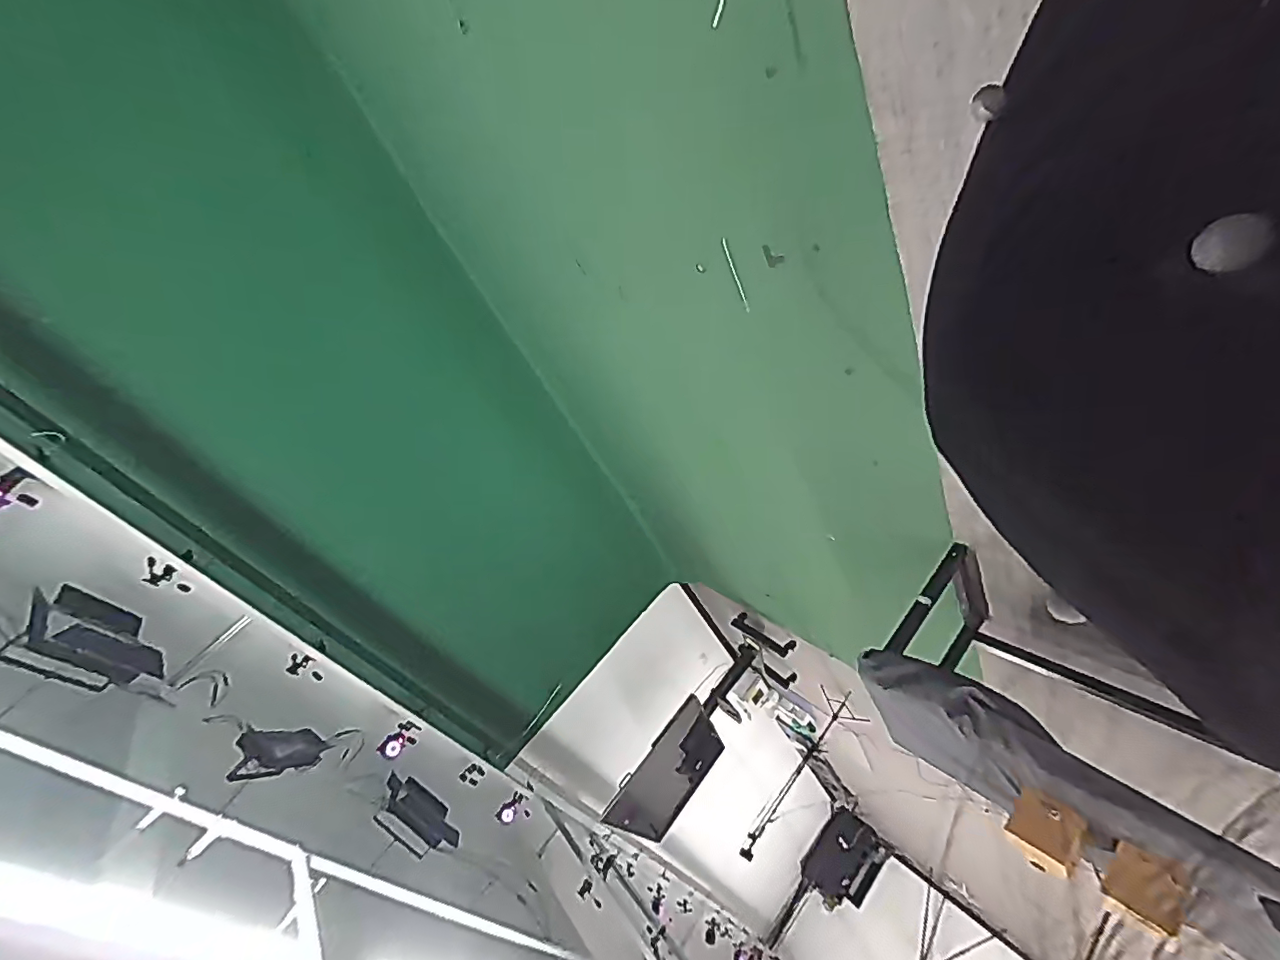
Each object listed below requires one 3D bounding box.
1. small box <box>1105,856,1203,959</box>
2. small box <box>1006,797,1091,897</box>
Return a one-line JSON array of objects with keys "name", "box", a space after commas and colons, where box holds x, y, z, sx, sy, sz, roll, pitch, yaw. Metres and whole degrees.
[{"name": "small box", "box": [1.436, 1.202, 1.514, 0.168, 0.176, 0.179, 19, 149, 52]}, {"name": "small box", "box": [1.295, 1.153, 1.708, 0.168, 0.176, 0.179, 16, 145, 52]}]
